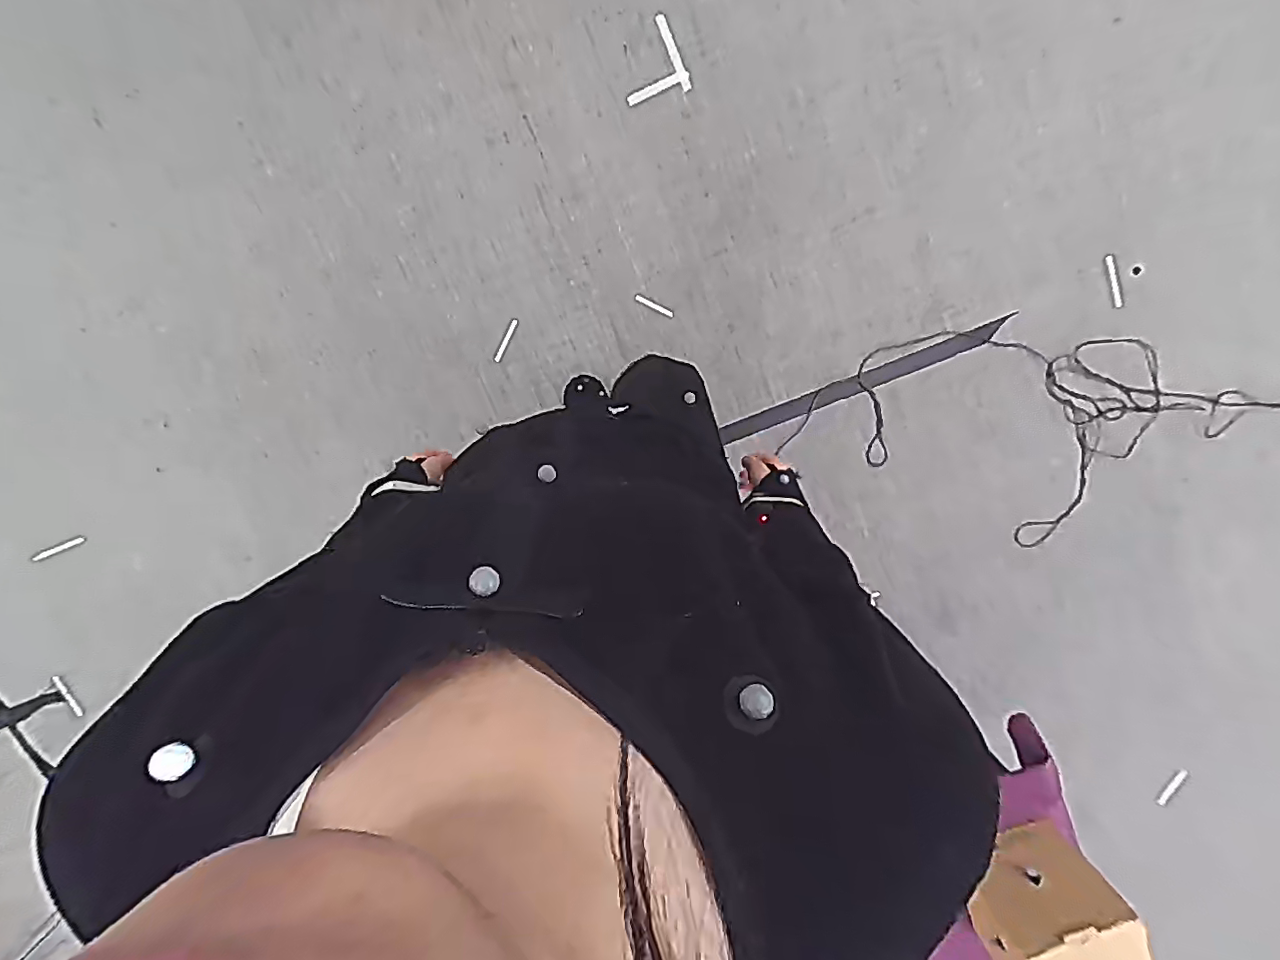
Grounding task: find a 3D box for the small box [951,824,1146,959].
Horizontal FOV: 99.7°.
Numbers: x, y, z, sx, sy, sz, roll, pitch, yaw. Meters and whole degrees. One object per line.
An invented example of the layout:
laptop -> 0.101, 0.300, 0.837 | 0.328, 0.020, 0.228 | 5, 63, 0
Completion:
small box -> 0.607, 0.661, 0.815 | 0.168, 0.176, 0.179 | -21, 101, 3
